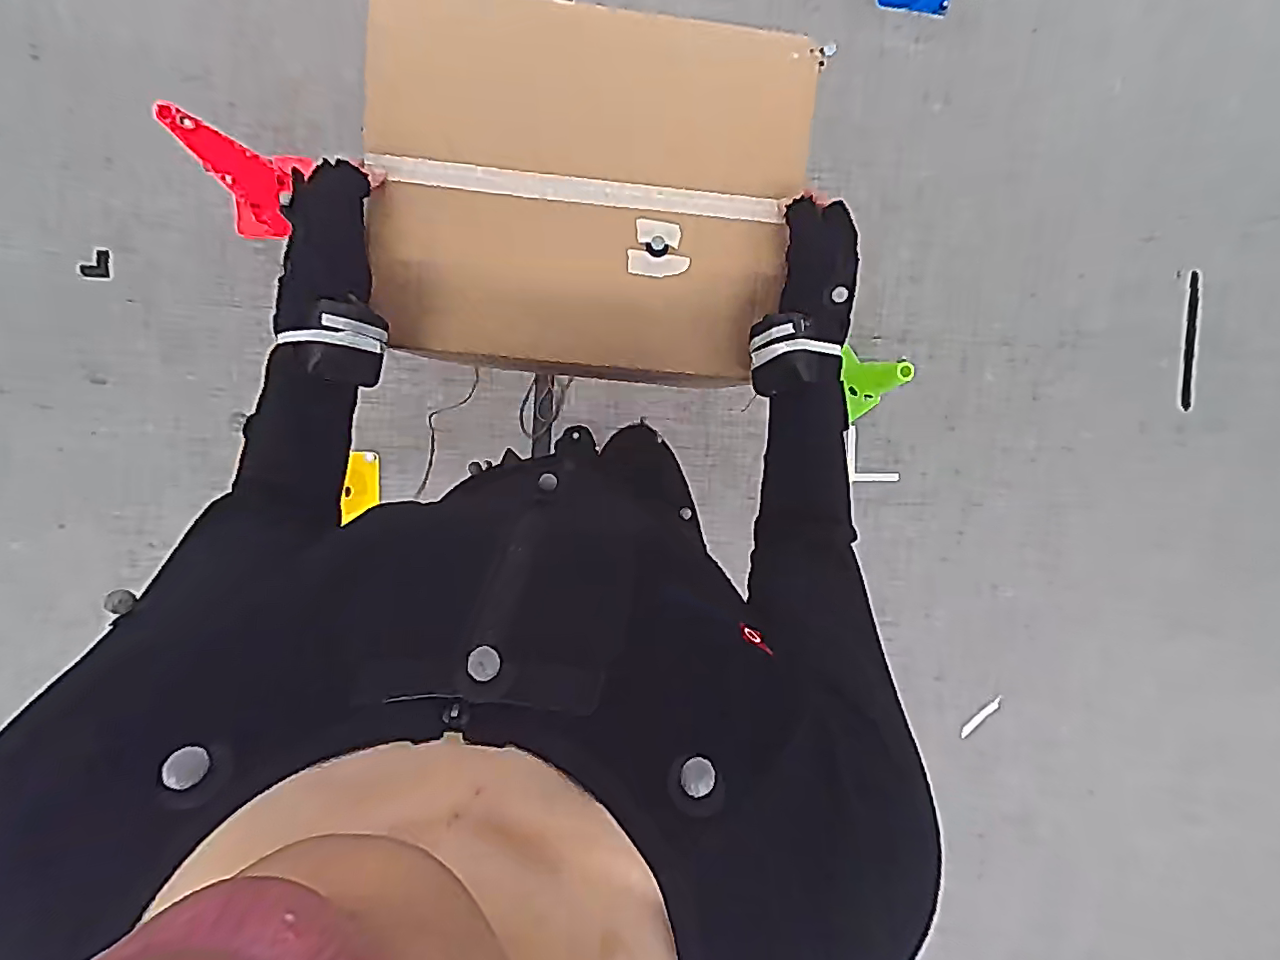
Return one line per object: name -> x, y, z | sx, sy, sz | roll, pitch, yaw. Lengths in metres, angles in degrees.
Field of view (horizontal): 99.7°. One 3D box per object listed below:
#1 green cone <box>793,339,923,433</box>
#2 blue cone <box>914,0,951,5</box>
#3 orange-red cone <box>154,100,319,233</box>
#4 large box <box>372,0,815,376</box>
green cone -> 0.558, -0.248, 1.313 | 0.202, 0.368, 0.200 | -35, 96, -2
blue cone -> 0.761, -1.360, 1.272 | 0.192, 0.380, 0.193 | 6, 93, -5
orange-red cone -> -0.904, -0.710, 1.193 | 0.198, 0.360, 0.199 | 0, 95, -3
large box -> -0.057, -0.301, 0.651 | 0.408, 0.320, 0.320 | 4, 99, -5
